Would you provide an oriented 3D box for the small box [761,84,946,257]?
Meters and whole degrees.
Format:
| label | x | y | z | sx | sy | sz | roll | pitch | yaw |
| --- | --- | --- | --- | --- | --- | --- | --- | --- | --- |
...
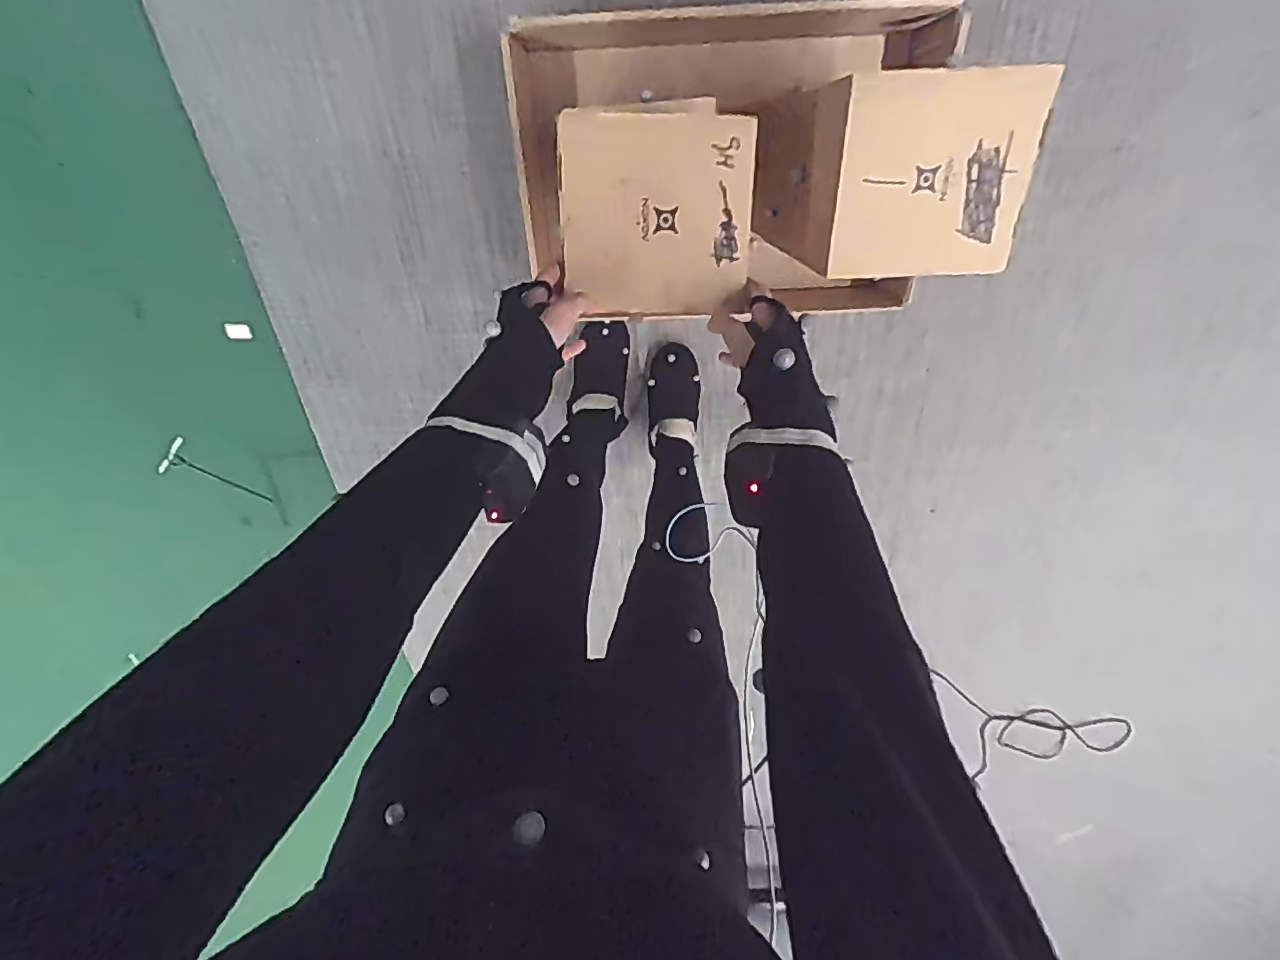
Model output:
| label | x | y | z | sx | sy | sz | roll | pitch | yaw |
| --- | --- | --- | --- | --- | --- | --- | --- | --- | --- |
| small box | 0.258 | -0.398 | 0.704 | 0.168 | 0.176 | 0.179 | -1 | 120 | 1 |

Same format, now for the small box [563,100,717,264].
| label | x | y | z | sx | sy | sz | roll | pitch | yaw |
| --- | --- | --- | --- | --- | --- | --- | --- | --- | --- |
| small box | 0.004 | -0.387 | 0.713 | 0.179 | 0.176 | 0.168 | -5 | 120 | 1 |
